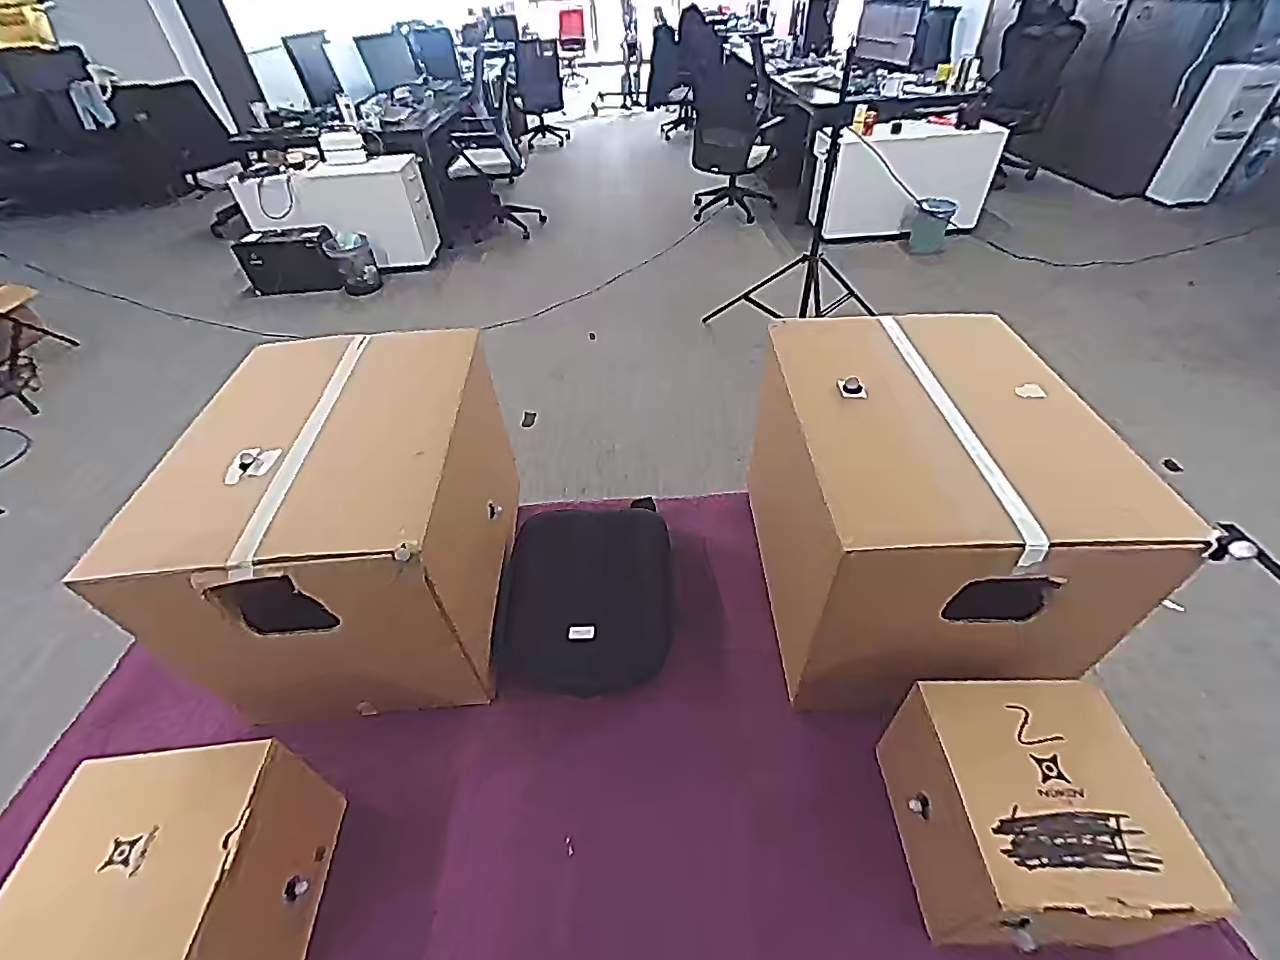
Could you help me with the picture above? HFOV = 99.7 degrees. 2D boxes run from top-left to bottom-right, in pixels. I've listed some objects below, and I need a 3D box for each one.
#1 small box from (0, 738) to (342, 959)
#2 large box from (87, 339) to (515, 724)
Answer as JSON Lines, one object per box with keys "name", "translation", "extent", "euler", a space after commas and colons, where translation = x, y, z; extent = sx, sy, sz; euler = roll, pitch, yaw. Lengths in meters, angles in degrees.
{"name": "small box", "translation": [-0.416, 0.366, 0.499], "extent": [0.179, 0.176, 0.168], "euler": [-6, 42, -4]}
{"name": "large box", "translation": [-0.357, 0.056, 0.727], "extent": [0.320, 0.320, 0.408], "euler": [-6, 45, -2]}
